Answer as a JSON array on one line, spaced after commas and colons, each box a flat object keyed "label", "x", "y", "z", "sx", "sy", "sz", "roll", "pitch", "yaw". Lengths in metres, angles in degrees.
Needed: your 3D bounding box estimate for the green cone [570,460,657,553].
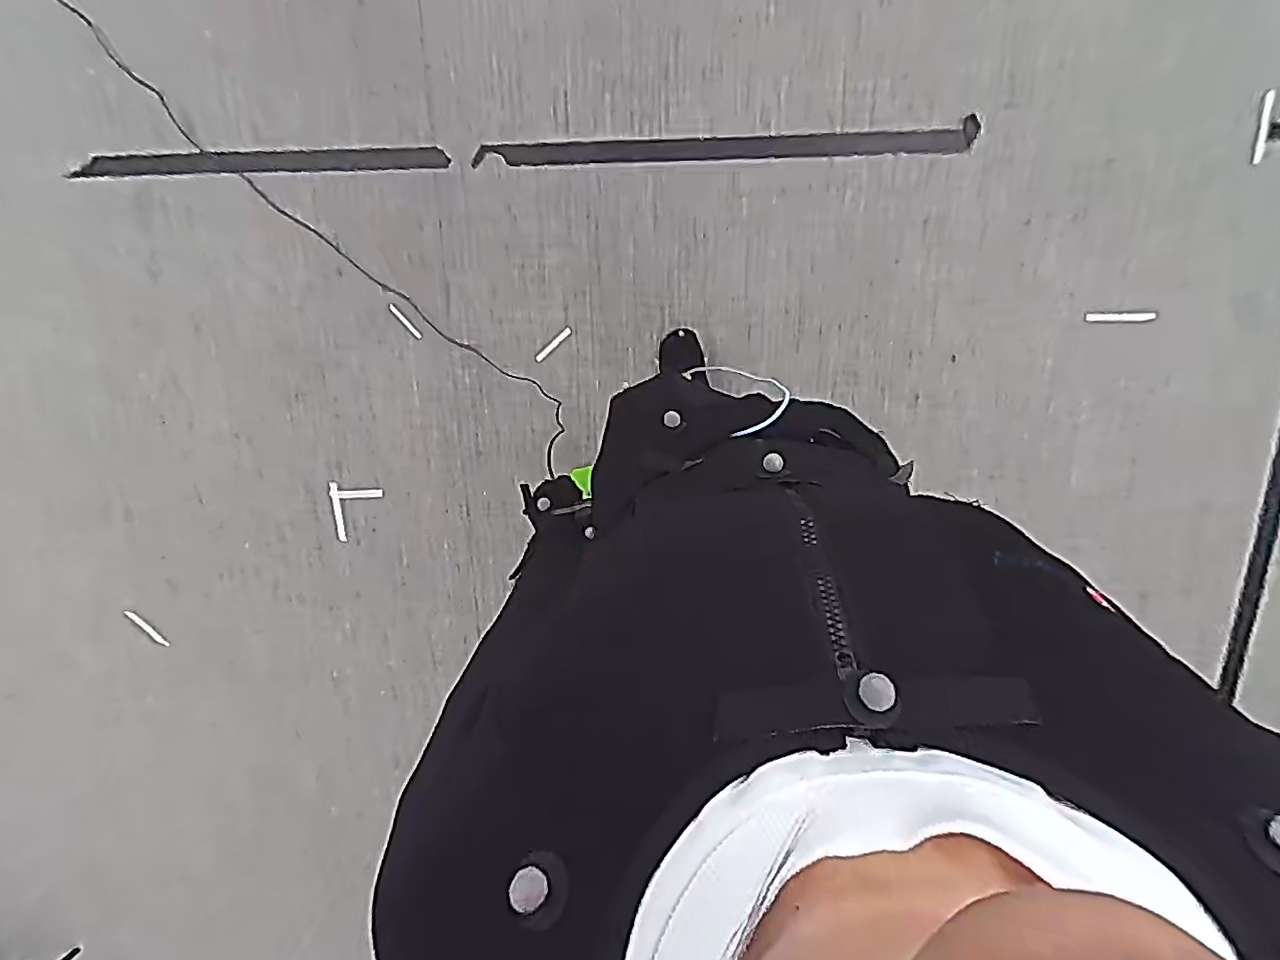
[{"label": "green cone", "x": -0.089, "y": 0.091, "z": 1.290, "sx": 0.202, "sy": 0.368, "sz": 0.200, "roll": -15, "pitch": 100, "yaw": 9}]
